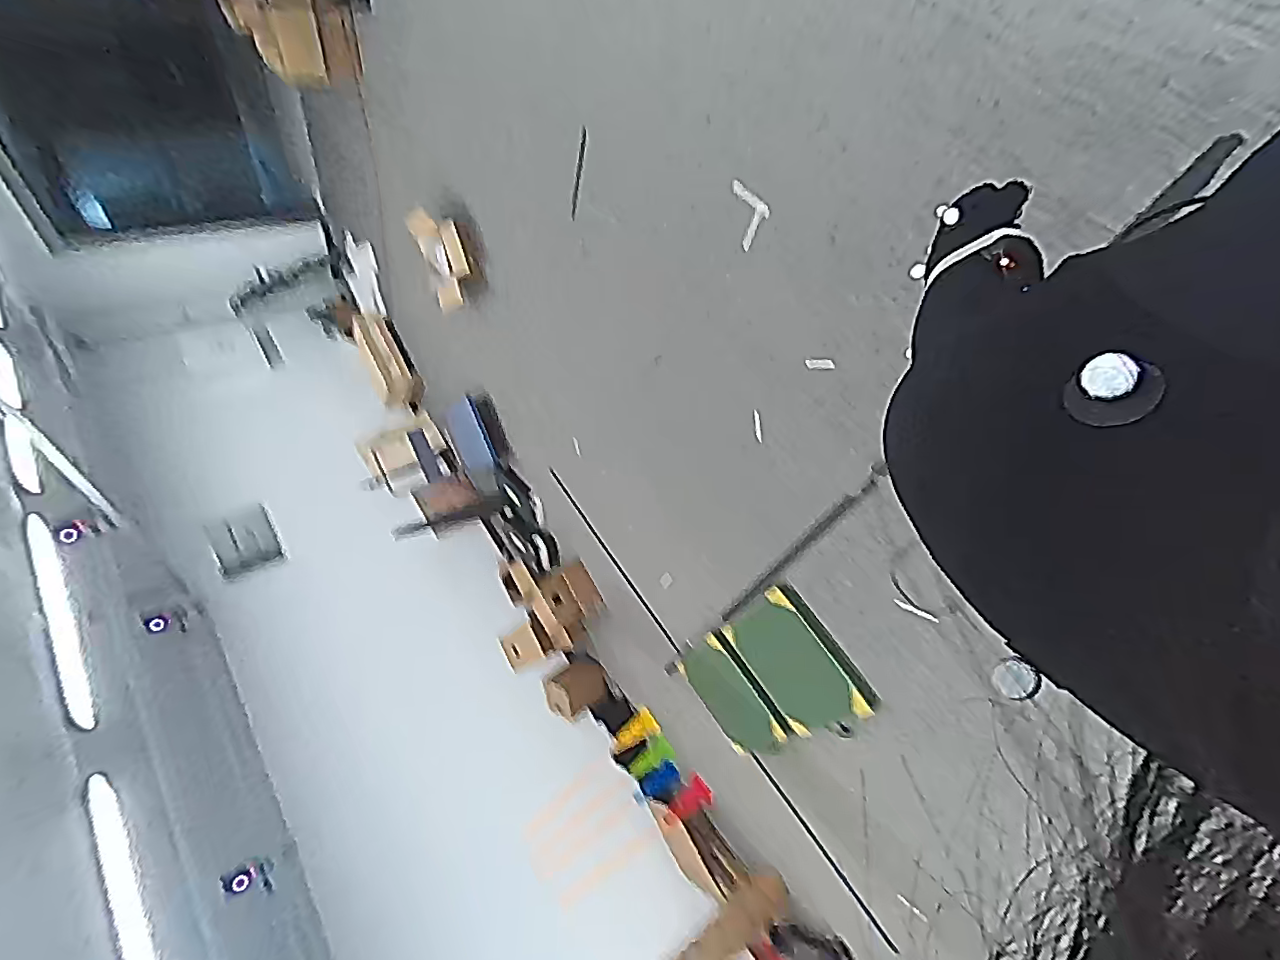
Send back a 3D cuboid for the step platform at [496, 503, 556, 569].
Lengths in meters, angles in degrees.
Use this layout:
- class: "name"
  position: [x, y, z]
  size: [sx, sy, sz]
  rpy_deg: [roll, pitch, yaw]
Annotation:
- class: "step platform"
  position: [-0.979, 0.474, 4.594]
  size: [0.684, 0.204, 0.286]
  rpy_deg: [31, 135, 42]
